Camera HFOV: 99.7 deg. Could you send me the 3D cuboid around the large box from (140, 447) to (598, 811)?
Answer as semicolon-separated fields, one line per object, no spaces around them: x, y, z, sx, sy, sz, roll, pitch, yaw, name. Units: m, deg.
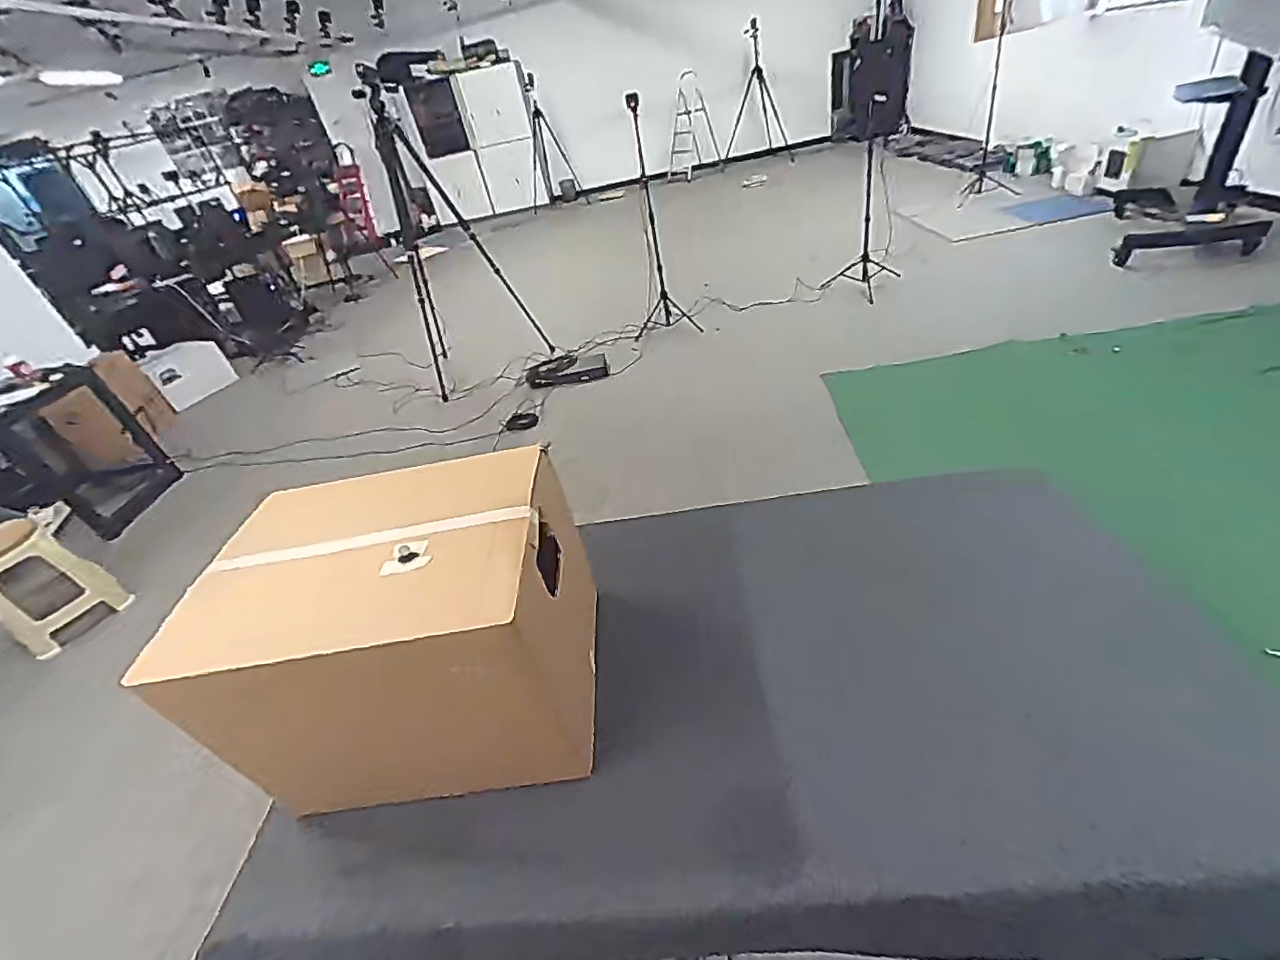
-0.284;0.193;0.727;0.408;0.320;0.320;-9;37;3;large box
